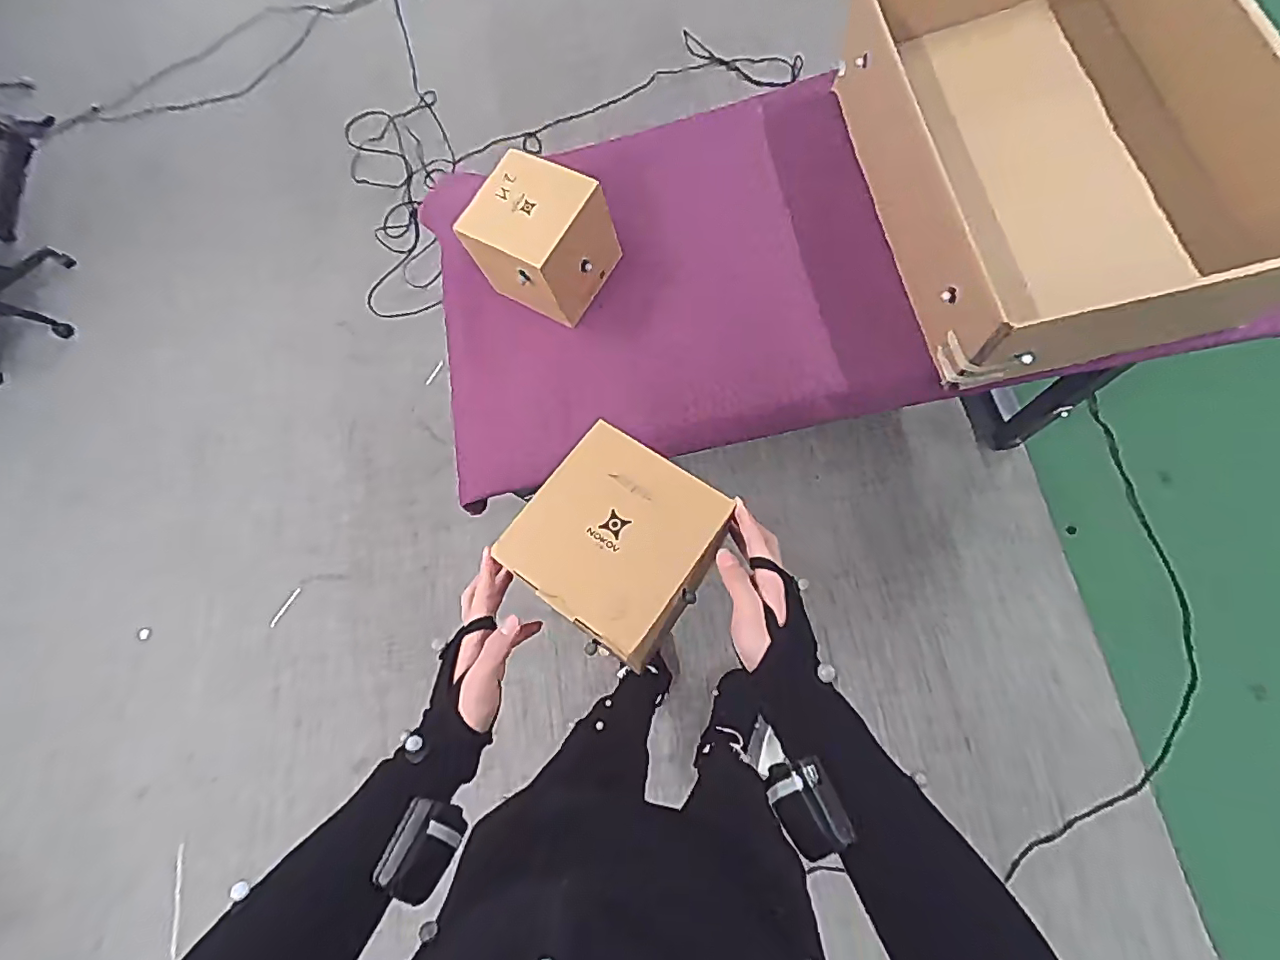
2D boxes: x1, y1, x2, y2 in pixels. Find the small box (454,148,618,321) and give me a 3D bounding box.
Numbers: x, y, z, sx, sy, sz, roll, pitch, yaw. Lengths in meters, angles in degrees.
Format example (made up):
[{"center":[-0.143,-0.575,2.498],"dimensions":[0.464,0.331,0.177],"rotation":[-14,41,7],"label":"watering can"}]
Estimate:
[{"center":[-0.158,-0.389,0.885],"dimensions":[0.179,0.176,0.168],"rotation":[30,81,16],"label":"small box"}]
